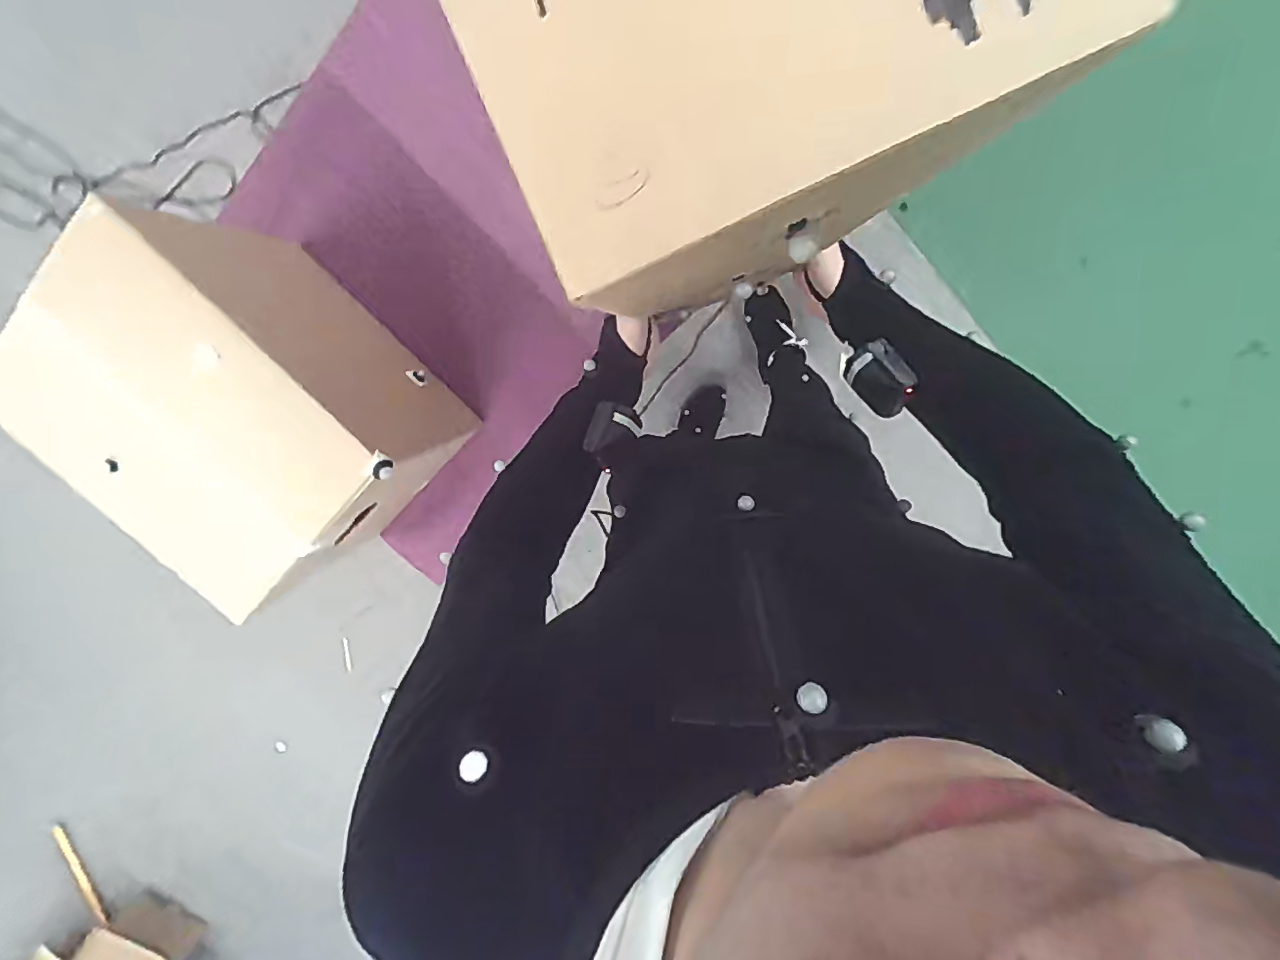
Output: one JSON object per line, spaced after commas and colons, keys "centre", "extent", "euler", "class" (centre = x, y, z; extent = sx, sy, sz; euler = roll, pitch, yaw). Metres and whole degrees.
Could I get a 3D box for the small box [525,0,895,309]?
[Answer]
{"centre": [0.045, -0.228, 0.367], "extent": [0.168, 0.176, 0.179], "euler": [-16, 103, 10], "class": "small box"}
